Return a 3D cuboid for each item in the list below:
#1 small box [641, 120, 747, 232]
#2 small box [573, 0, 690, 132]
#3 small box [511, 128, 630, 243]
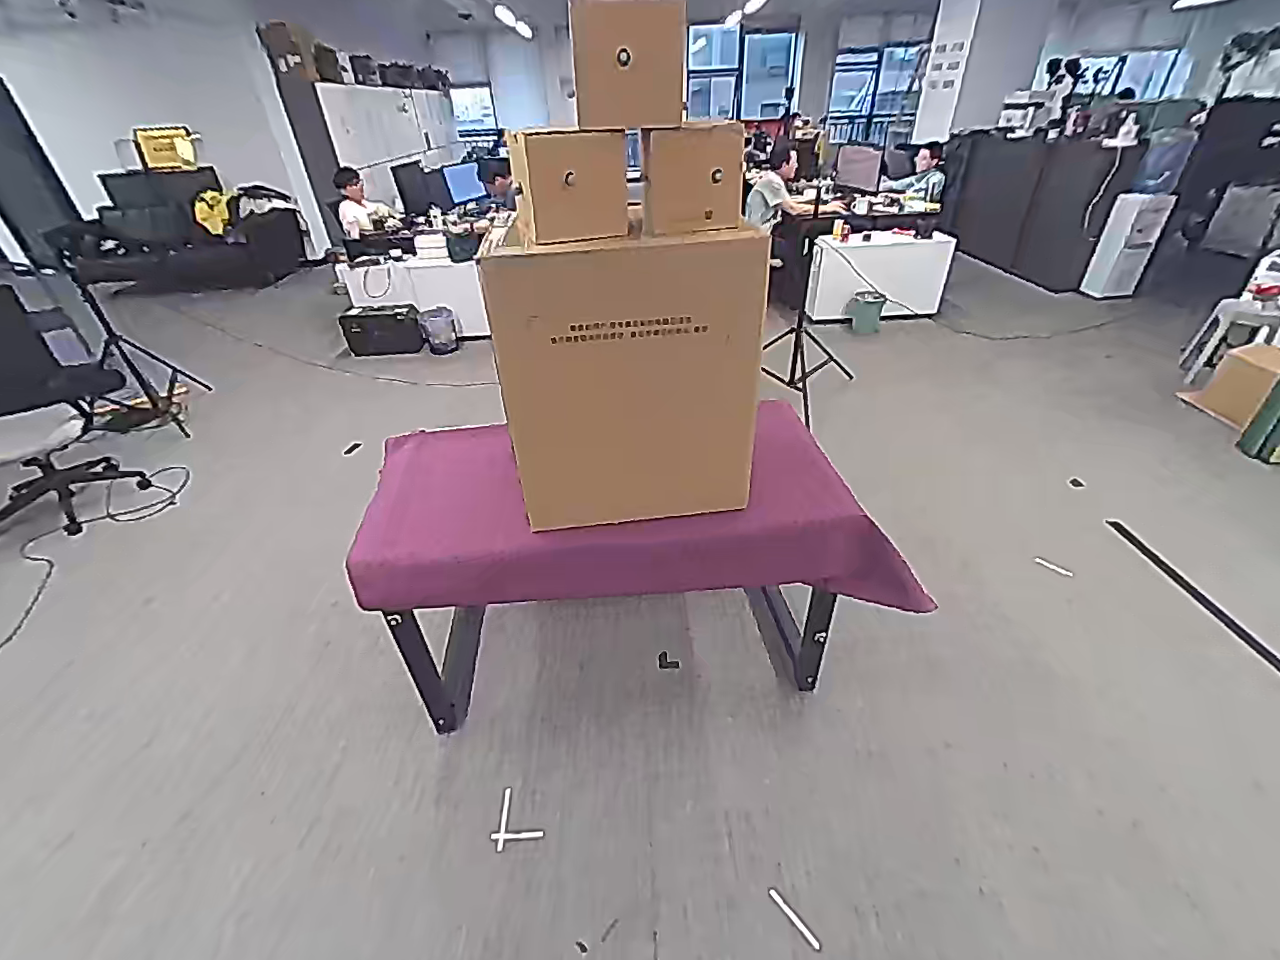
[{"bbox_3d":[0.096,-0.571,1.019,0.168,0.176,0.179,-6,34,-5],"label":"small box"},{"bbox_3d":[-0.016,-0.688,0.907,0.179,0.176,0.168,-4,35,-2],"label":"small box"},{"bbox_3d":[-0.125,-0.542,0.993,0.179,0.176,0.168,-13,37,-16],"label":"small box"}]
